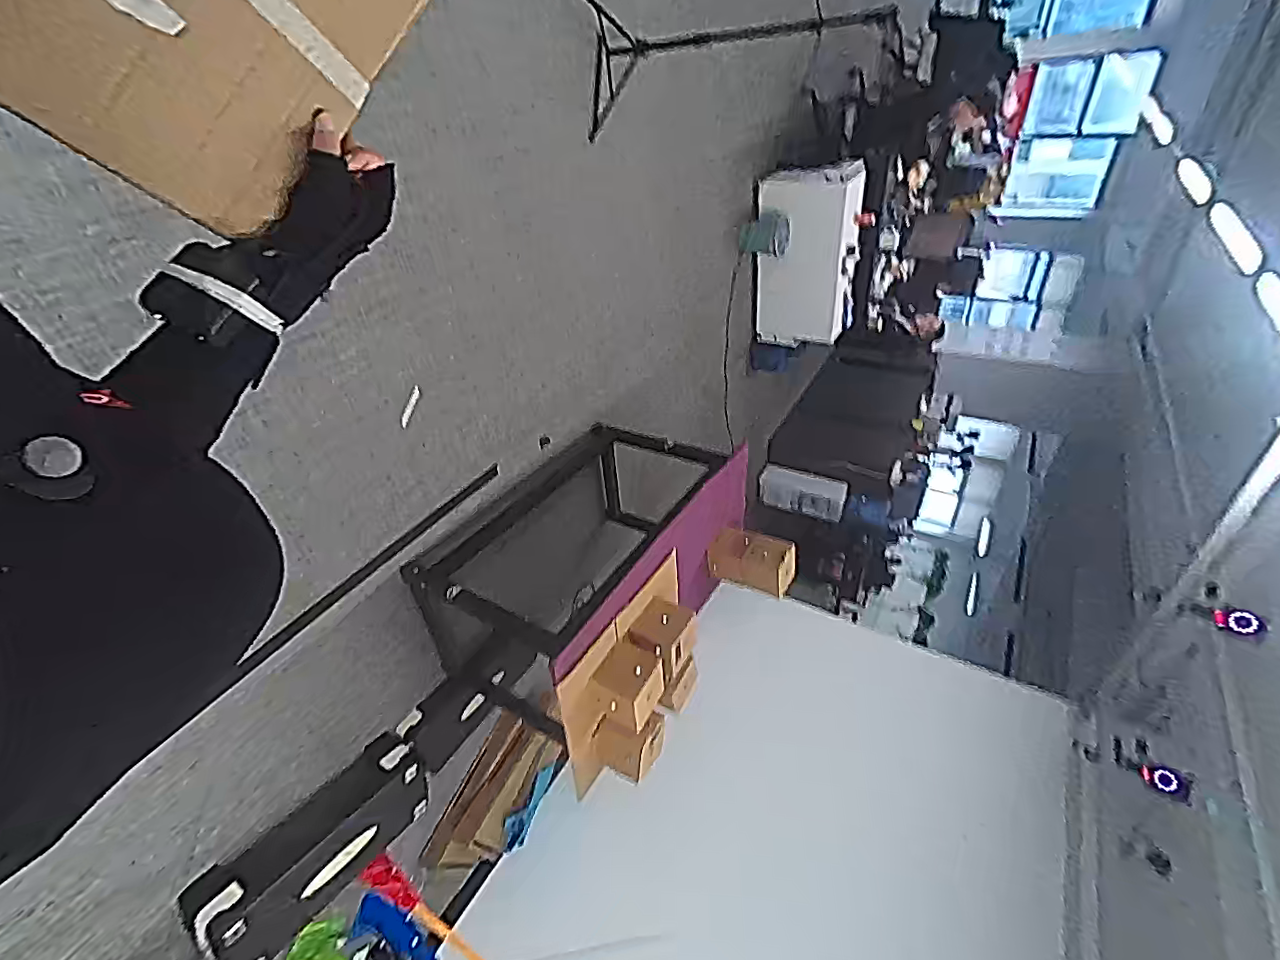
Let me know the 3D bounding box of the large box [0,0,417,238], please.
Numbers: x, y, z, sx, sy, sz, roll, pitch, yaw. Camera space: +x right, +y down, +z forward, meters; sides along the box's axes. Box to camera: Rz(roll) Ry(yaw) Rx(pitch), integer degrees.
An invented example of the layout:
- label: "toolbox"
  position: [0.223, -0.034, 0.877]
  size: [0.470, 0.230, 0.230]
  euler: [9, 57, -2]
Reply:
- label: "large box"
  position: [-0.422, -0.446, 0.342]
  size: [0.320, 0.320, 0.408]
  euler: [-55, 153, 2]
